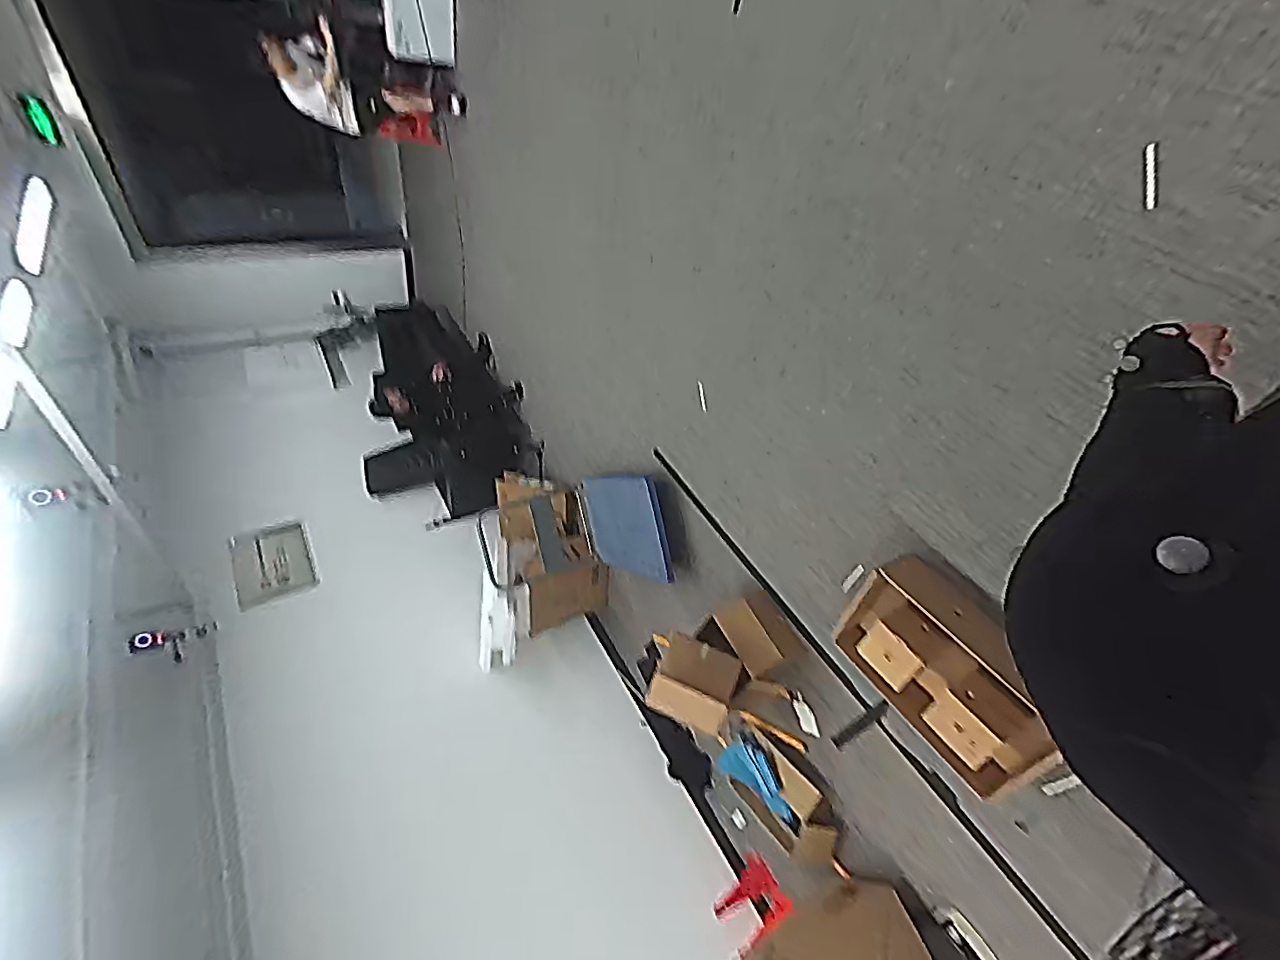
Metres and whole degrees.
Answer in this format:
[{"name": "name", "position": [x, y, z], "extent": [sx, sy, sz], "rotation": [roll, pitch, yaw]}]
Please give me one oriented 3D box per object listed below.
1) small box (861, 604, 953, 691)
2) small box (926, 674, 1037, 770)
[{"name": "small box", "position": [0.844, 0.527, 1.710], "extent": [0.168, 0.176, 0.179], "rotation": [48, 143, 36]}, {"name": "small box", "position": [0.980, 0.685, 1.555], "extent": [0.179, 0.176, 0.168], "rotation": [49, 144, 38]}]
